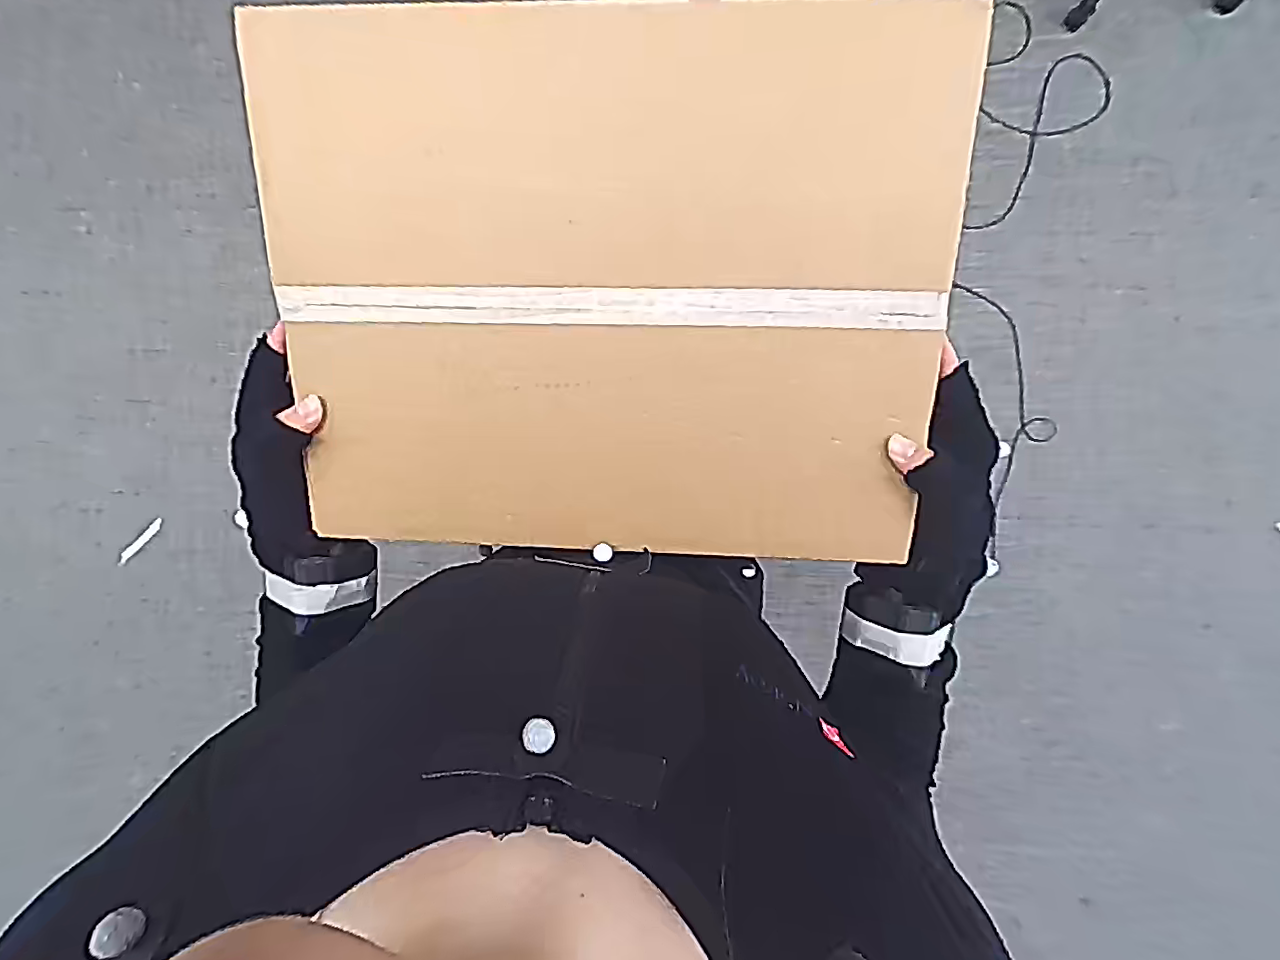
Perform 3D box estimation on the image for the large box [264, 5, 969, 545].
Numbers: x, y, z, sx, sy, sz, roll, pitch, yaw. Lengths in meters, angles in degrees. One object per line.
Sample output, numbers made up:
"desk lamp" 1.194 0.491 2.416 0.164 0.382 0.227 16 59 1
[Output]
"large box" -0.014 -0.145 0.480 0.408 0.320 0.320 2 106 4
